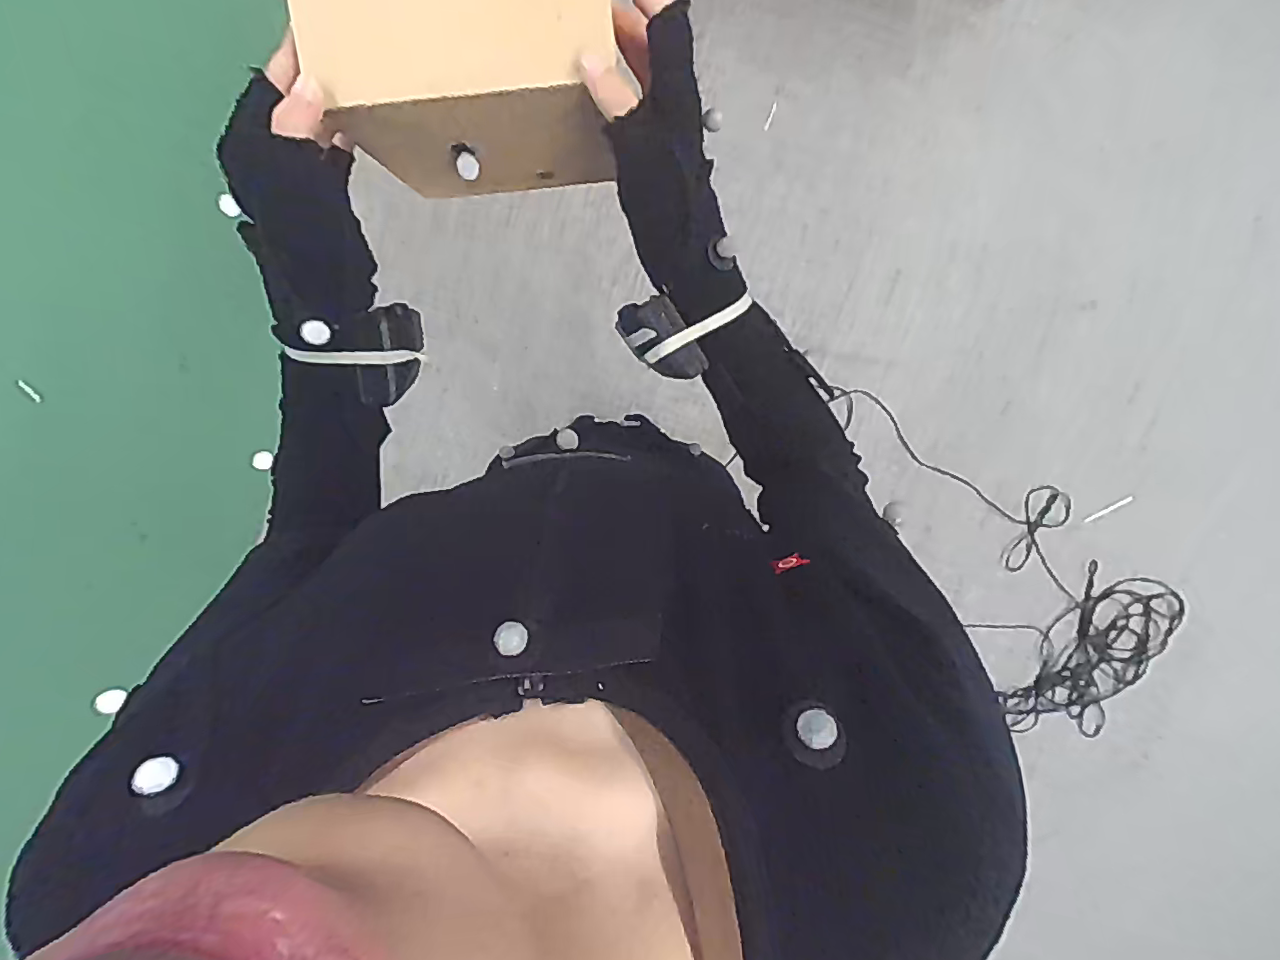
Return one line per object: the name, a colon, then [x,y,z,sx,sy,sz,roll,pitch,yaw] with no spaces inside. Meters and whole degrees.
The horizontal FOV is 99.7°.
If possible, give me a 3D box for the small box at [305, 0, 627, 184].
small box: [-0.097,-0.310,0.352,0.168,0.176,0.179,-6,103,0]
